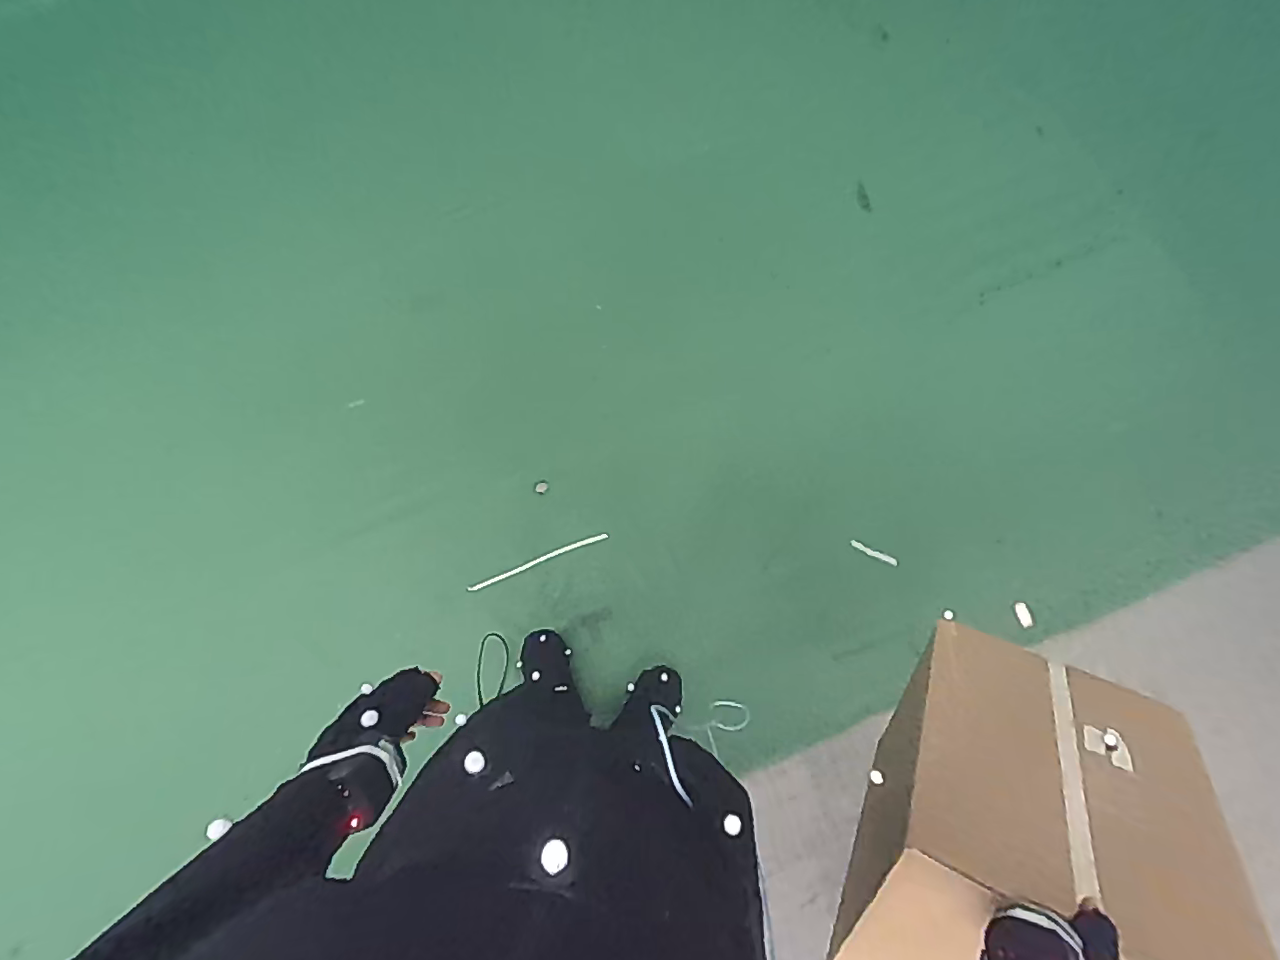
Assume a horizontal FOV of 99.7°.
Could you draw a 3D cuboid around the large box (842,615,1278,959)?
[{"bbox_3d":[0.494,0.466,0.720,0.320,0.408,0.320,21,122,23],"label":"large box"}]
